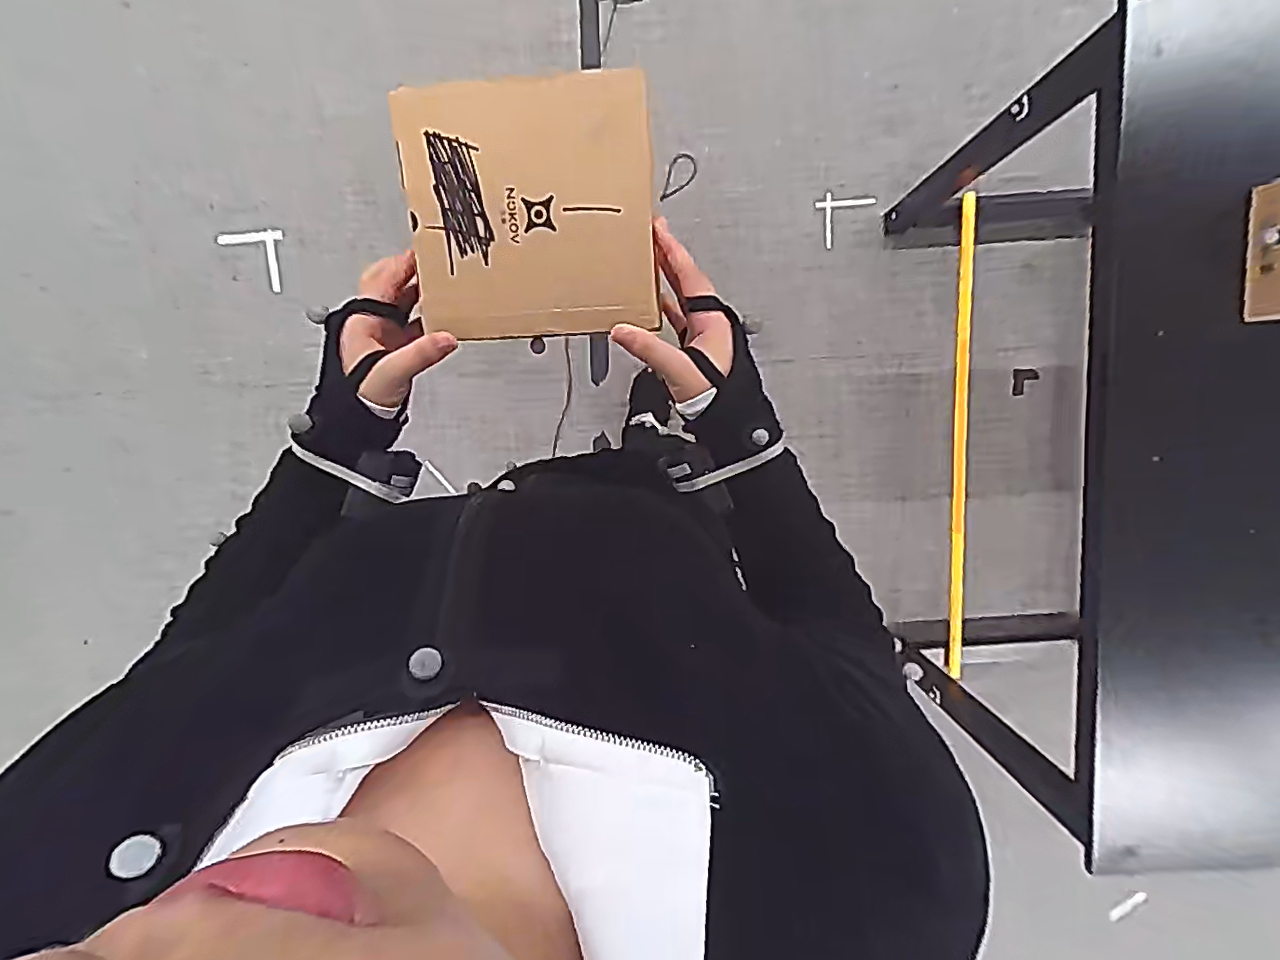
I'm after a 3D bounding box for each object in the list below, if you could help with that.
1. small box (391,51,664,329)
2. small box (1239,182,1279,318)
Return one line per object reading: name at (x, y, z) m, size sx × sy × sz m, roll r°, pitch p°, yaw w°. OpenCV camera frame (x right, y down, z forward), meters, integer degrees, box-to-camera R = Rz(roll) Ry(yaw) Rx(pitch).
small box at (-0.072, -0.215, 0.451) m, size 0.179 × 0.176 × 0.168 m, roll -2°, pitch 105°, yaw 4°
small box at (0.860, -0.288, 0.614) m, size 0.179 × 0.176 × 0.168 m, roll -4°, pitch 95°, yaw 2°
